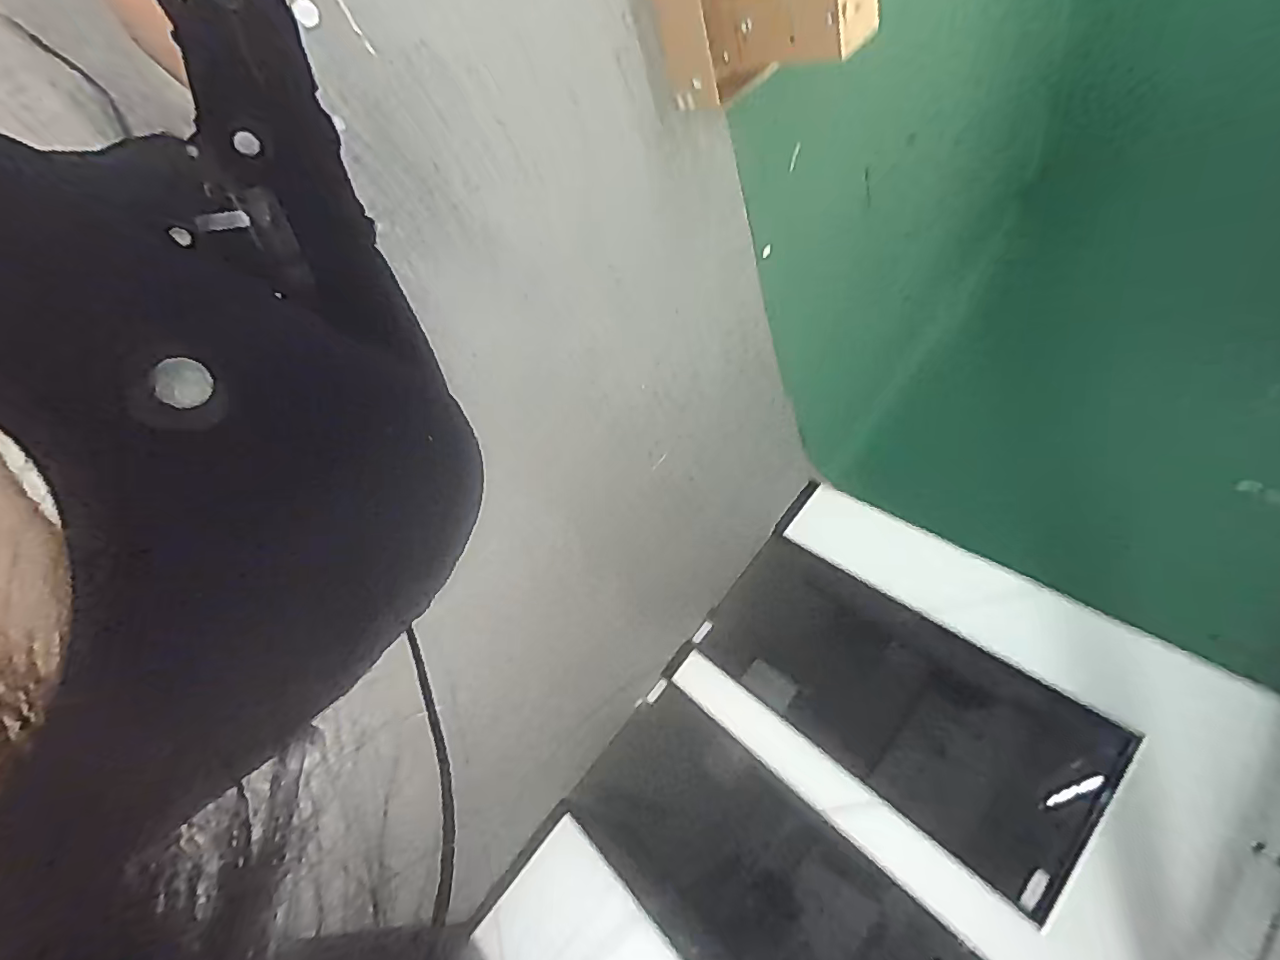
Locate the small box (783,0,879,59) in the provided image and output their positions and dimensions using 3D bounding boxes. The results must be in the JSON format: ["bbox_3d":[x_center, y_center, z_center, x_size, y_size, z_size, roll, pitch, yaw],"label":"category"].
[{"bbox_3d":[0.494,-1.229,1.398,0.179,0.176,0.168,-48,140,-13],"label":"small box"}]

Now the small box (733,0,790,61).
[{"bbox_3d":[0.386,-1.299,1.500,0.179,0.176,0.168,-44,139,-14],"label":"small box"}]
